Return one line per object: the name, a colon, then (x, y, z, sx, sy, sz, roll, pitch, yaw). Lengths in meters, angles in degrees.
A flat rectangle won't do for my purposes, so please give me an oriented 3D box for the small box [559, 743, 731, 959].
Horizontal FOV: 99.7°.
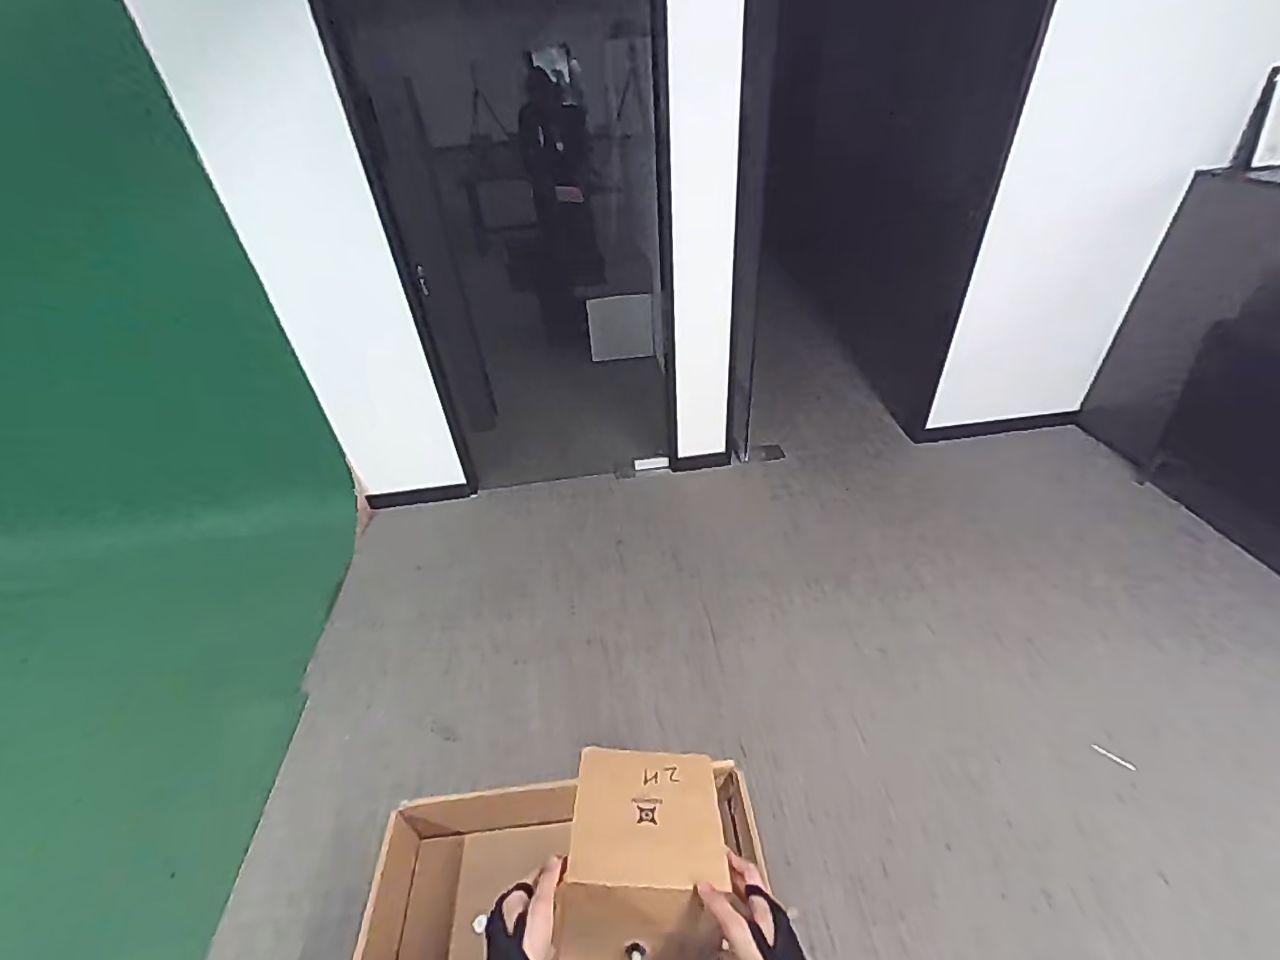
small box: (0.001, 0.437, 0.616, 0.168, 0.176, 0.179, 6, 15, -1)
